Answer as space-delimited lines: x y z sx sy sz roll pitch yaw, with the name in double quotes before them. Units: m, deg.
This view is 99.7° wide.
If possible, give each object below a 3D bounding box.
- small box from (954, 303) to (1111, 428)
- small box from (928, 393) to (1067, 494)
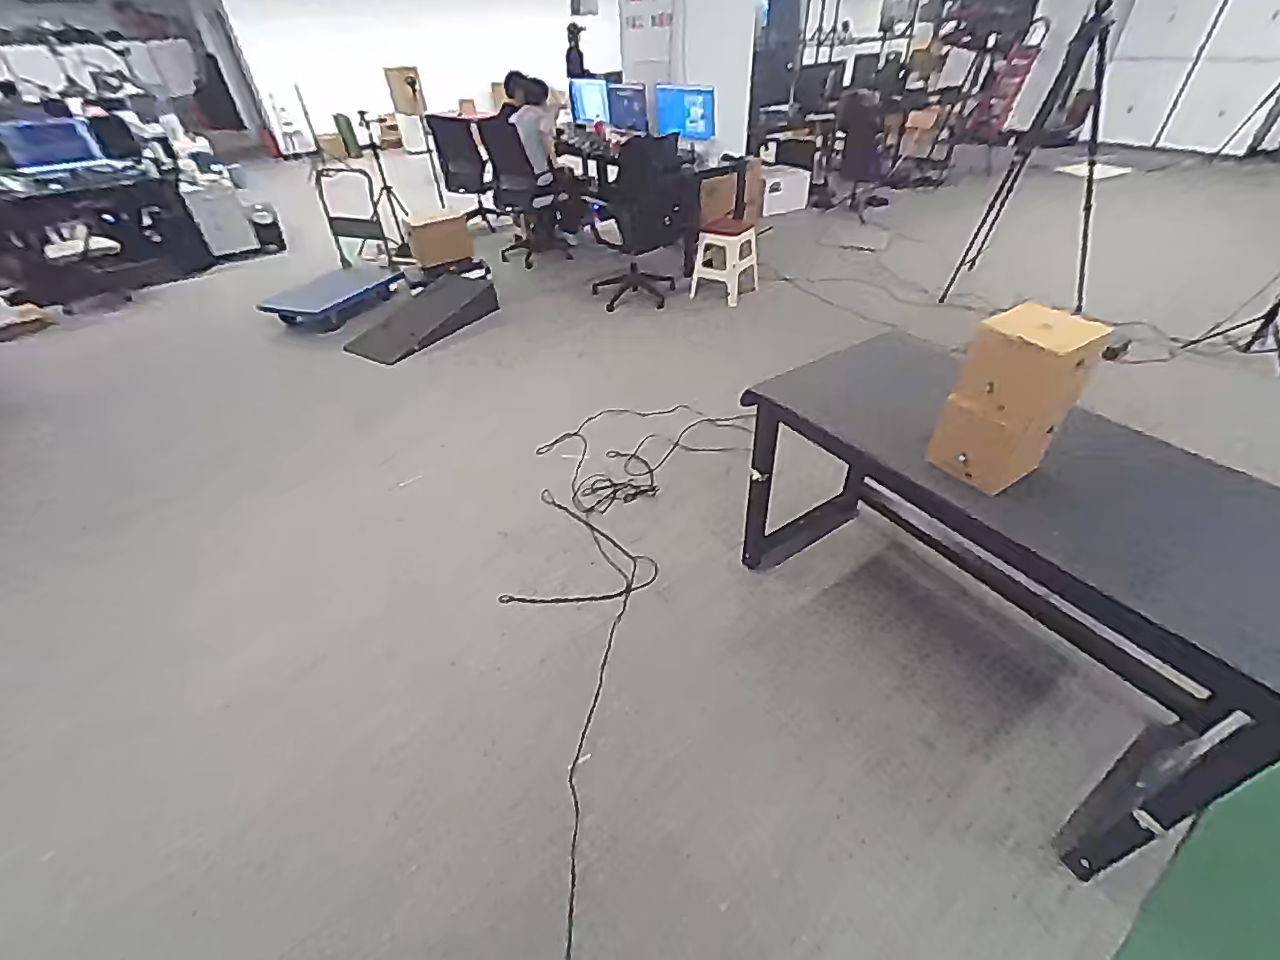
"small box" 0.769 -0.228 1.079 0.179 0.176 0.168 -23 43 -23
"small box" 0.767 -0.100 1.179 0.179 0.176 0.168 -23 43 -23
